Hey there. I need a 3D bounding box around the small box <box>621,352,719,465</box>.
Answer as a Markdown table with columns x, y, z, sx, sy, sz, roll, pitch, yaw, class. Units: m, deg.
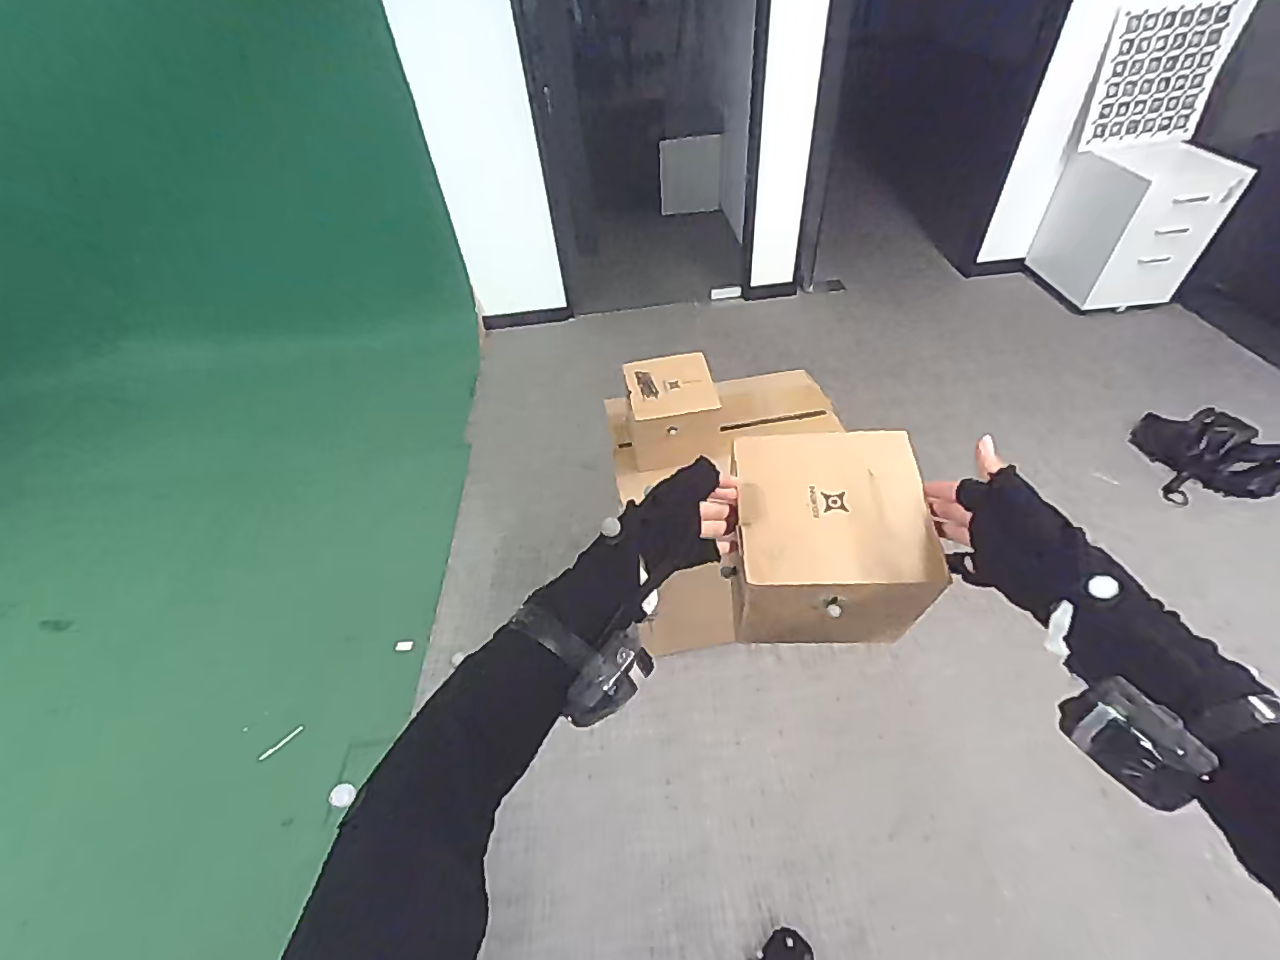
| x | y | z | sx | sy | sz | roll | pitch | yaw | class |
| --- | --- | --- | --- | --- | --- | --- | --- | --- | --- |
| 0.062 | -0.148 | 1.162 | 0.179 | 0.176 | 0.168 | -9 | 55 | -4 | small box |
